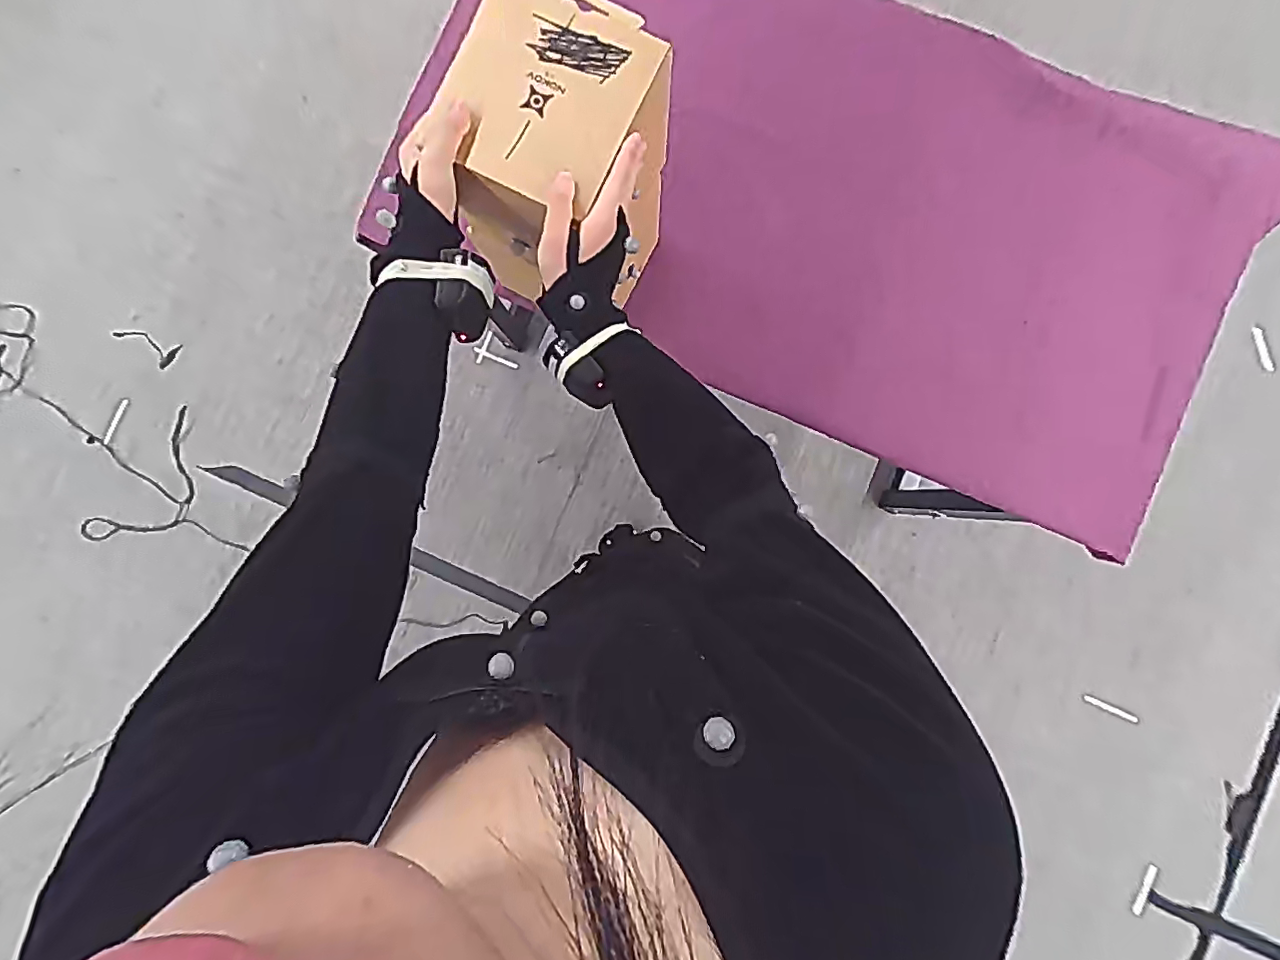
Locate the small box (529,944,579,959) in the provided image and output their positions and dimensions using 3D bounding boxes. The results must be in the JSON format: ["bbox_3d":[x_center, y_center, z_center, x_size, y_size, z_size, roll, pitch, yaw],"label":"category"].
[{"bbox_3d":[-0.132,0.869,0.808,0.168,0.176,0.179,25,90,0],"label":"small box"}]

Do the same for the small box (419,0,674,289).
[{"bbox_3d":[-0.081,-0.327,0.541,0.168,0.176,0.179,27,90,1],"label":"small box"}]

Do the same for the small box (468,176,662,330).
[{"bbox_3d":[-0.086,-0.316,0.704,0.179,0.176,0.168,28,88,1],"label":"small box"}]
